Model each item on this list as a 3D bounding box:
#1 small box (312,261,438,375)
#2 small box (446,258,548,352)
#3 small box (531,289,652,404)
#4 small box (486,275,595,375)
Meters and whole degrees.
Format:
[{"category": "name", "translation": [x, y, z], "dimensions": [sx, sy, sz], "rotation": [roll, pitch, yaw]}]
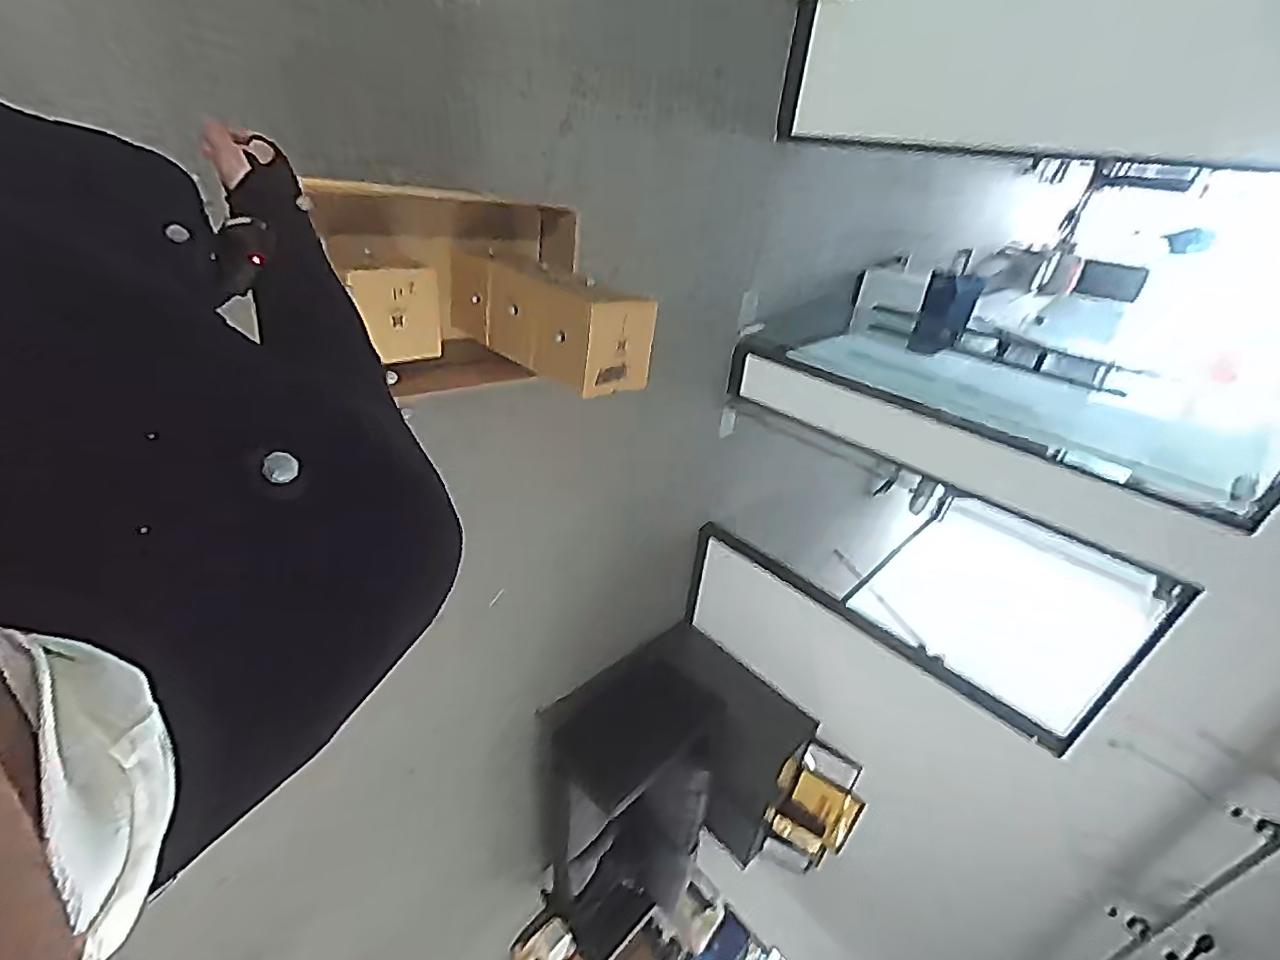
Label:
[{"category": "small box", "translation": [-0.523, -0.327, 1.074], "dimensions": [0.168, 0.176, 0.179], "rotation": [-23, 131, -42]}, {"category": "small box", "translation": [-0.335, -0.408, 1.256], "dimensions": [0.168, 0.176, 0.179], "rotation": [-17, 128, -43]}, {"category": "small box", "translation": [-0.102, -0.269, 1.070], "dimensions": [0.168, 0.176, 0.179], "rotation": [-19, 128, -42]}, {"category": "small box", "translation": [-0.218, -0.339, 1.164], "dimensions": [0.168, 0.176, 0.179], "rotation": [-18, 127, -42]}]
